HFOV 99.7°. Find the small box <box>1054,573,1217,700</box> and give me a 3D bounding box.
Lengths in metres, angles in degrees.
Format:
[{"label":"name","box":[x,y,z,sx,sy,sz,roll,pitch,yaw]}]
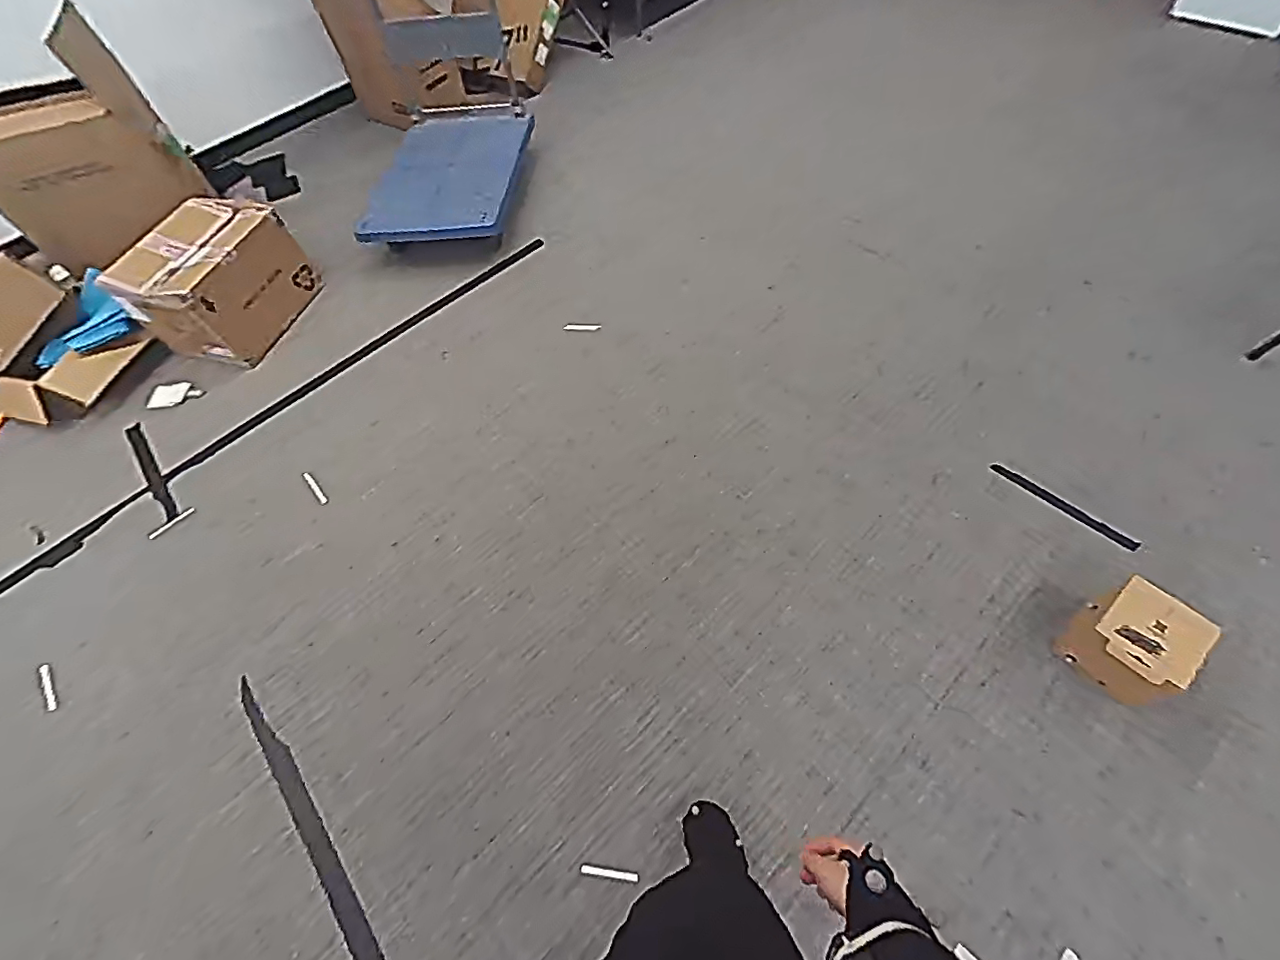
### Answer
[{"label":"small box","box":[1.027,0.335,1.141,0.179,0.176,0.168,-40,63,-17]}]
